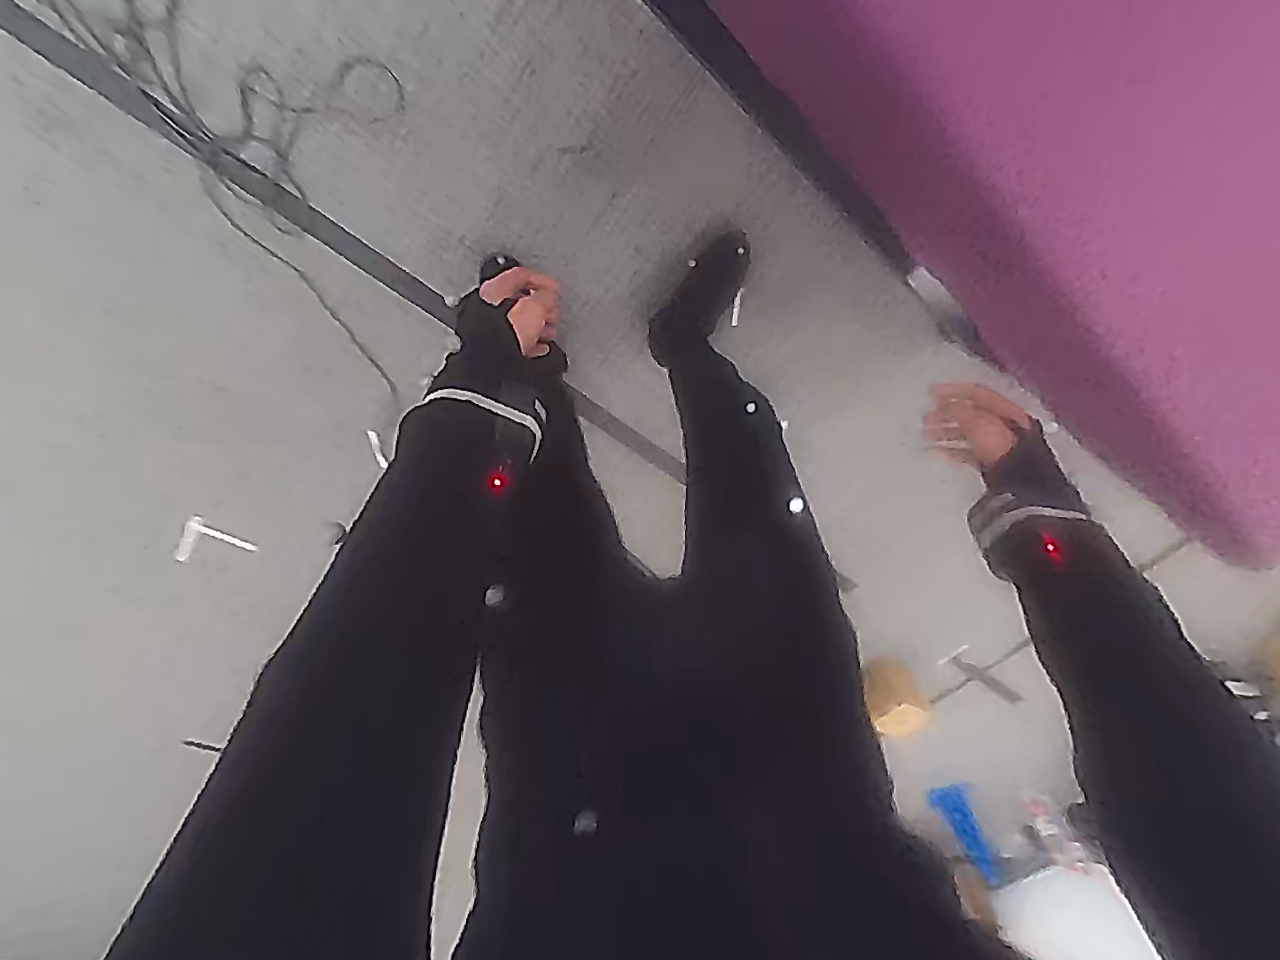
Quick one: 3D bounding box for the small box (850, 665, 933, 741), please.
[{"bbox_3d":[0.888,0.789,1.923,0.179,0.176,0.168,29,117,-22],"label":"small box"}]
